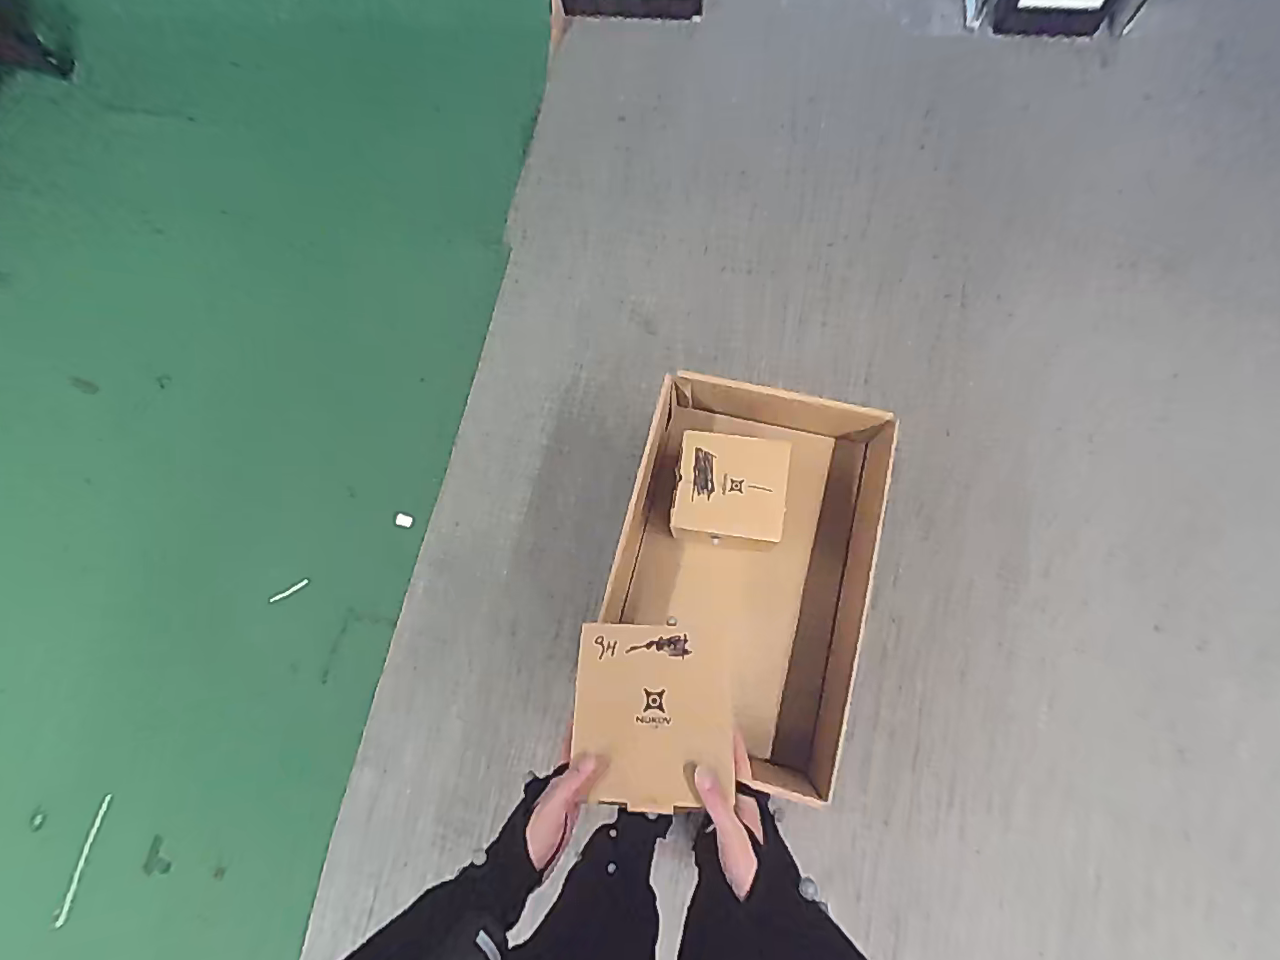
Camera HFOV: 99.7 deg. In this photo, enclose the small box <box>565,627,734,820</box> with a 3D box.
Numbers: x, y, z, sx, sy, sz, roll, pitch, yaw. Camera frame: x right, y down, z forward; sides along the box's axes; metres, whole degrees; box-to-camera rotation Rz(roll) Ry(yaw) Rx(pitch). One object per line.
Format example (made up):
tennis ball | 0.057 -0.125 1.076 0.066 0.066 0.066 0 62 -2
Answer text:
small box | 0.017 0.274 0.621 0.168 0.176 0.179 1 64 3
